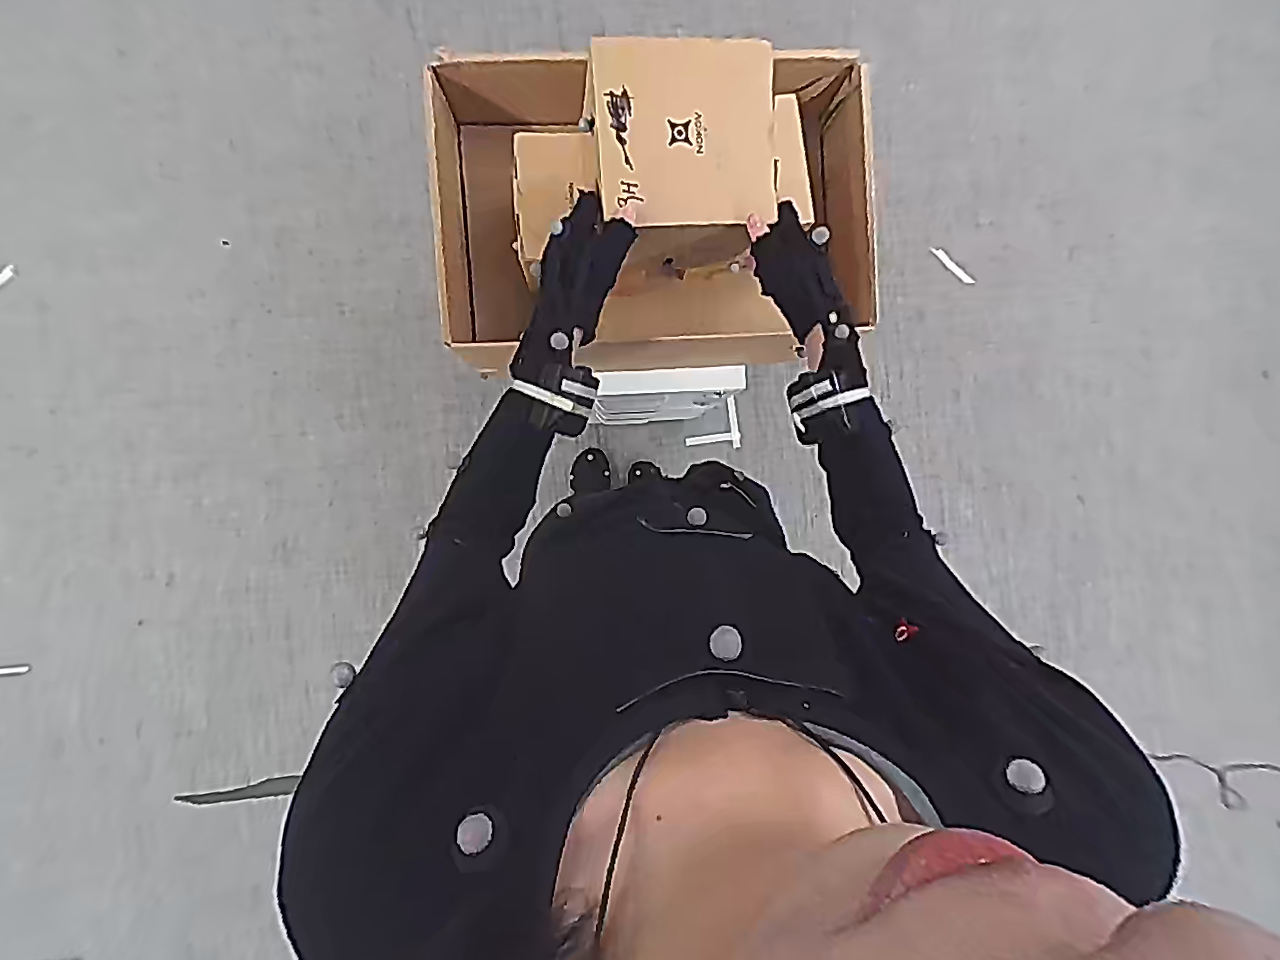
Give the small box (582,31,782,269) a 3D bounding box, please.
[{"bbox_3d":[0.036,-0.333,0.582,0.179,0.176,0.168,-5,98,-9],"label":"small box"}]
